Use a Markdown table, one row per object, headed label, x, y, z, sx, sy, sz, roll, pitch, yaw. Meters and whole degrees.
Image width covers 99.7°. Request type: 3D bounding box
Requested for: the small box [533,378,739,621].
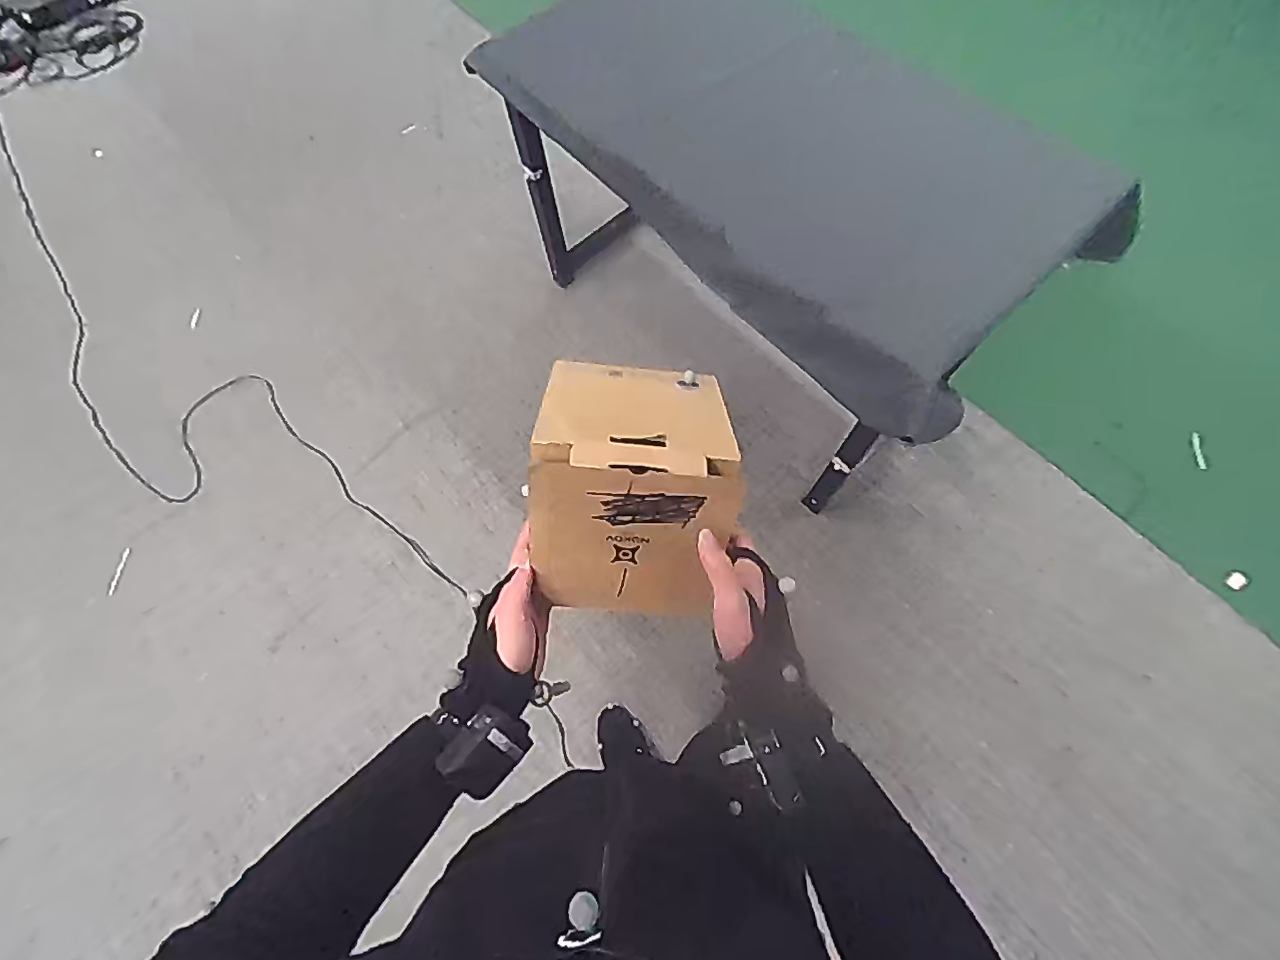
| label | x | y | z | sx | sy | sz | roll | pitch | yaw |
| --- | --- | --- | --- | --- | --- | --- | --- | --- | --- |
| small box | -0.013 | 0.014 | 0.532 | 0.168 | 0.179 | 0.176 | 4 | 34 | -4 |
